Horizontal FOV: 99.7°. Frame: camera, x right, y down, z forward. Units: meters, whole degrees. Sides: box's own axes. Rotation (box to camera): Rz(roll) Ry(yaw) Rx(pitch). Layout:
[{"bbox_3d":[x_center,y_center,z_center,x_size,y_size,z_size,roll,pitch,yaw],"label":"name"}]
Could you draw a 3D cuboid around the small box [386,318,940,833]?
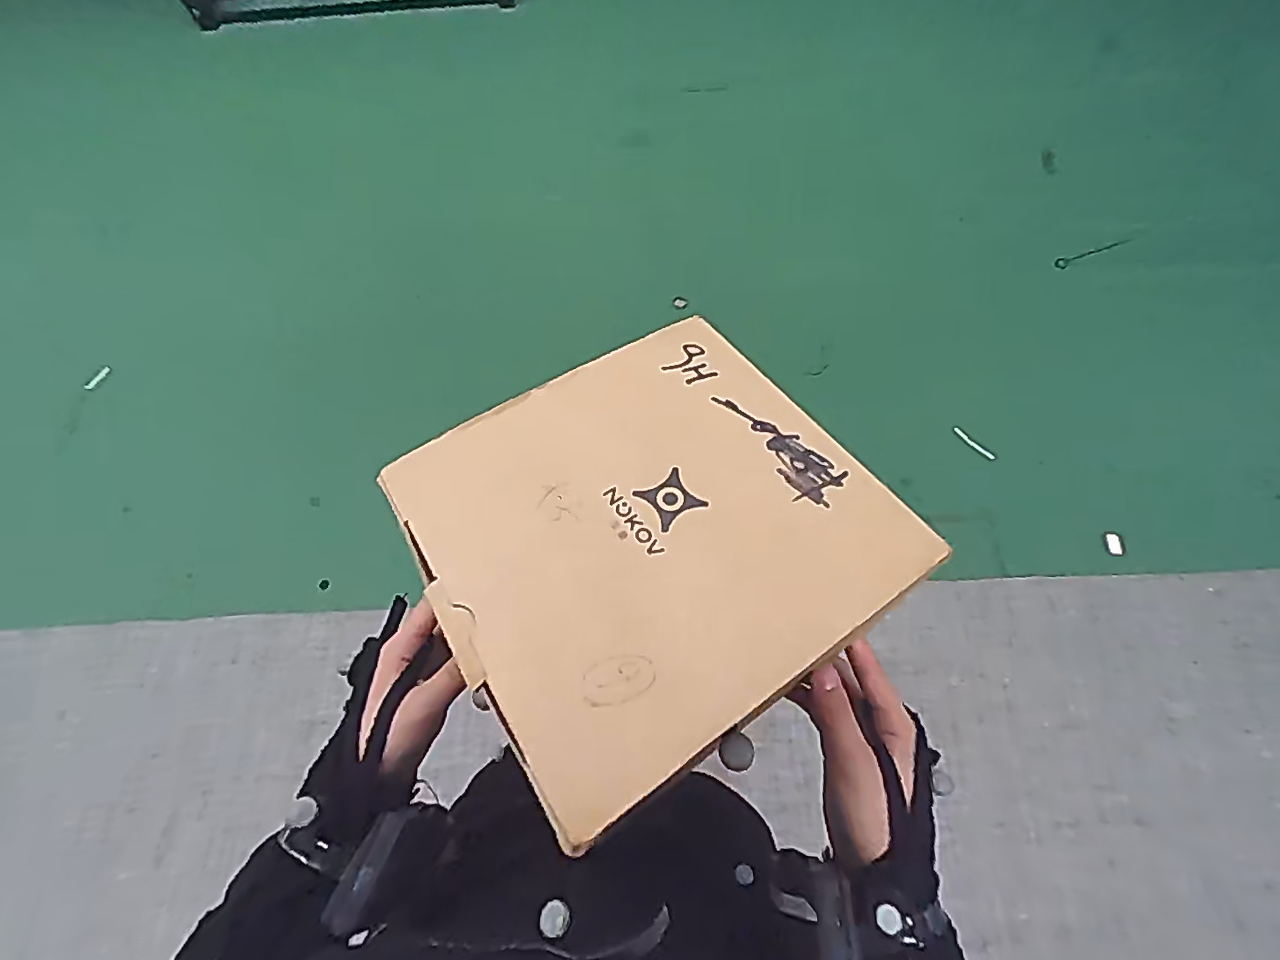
[{"bbox_3d":[0.006,0.055,0.290,0.179,0.176,0.168,-30,62,-17],"label":"small box"}]
